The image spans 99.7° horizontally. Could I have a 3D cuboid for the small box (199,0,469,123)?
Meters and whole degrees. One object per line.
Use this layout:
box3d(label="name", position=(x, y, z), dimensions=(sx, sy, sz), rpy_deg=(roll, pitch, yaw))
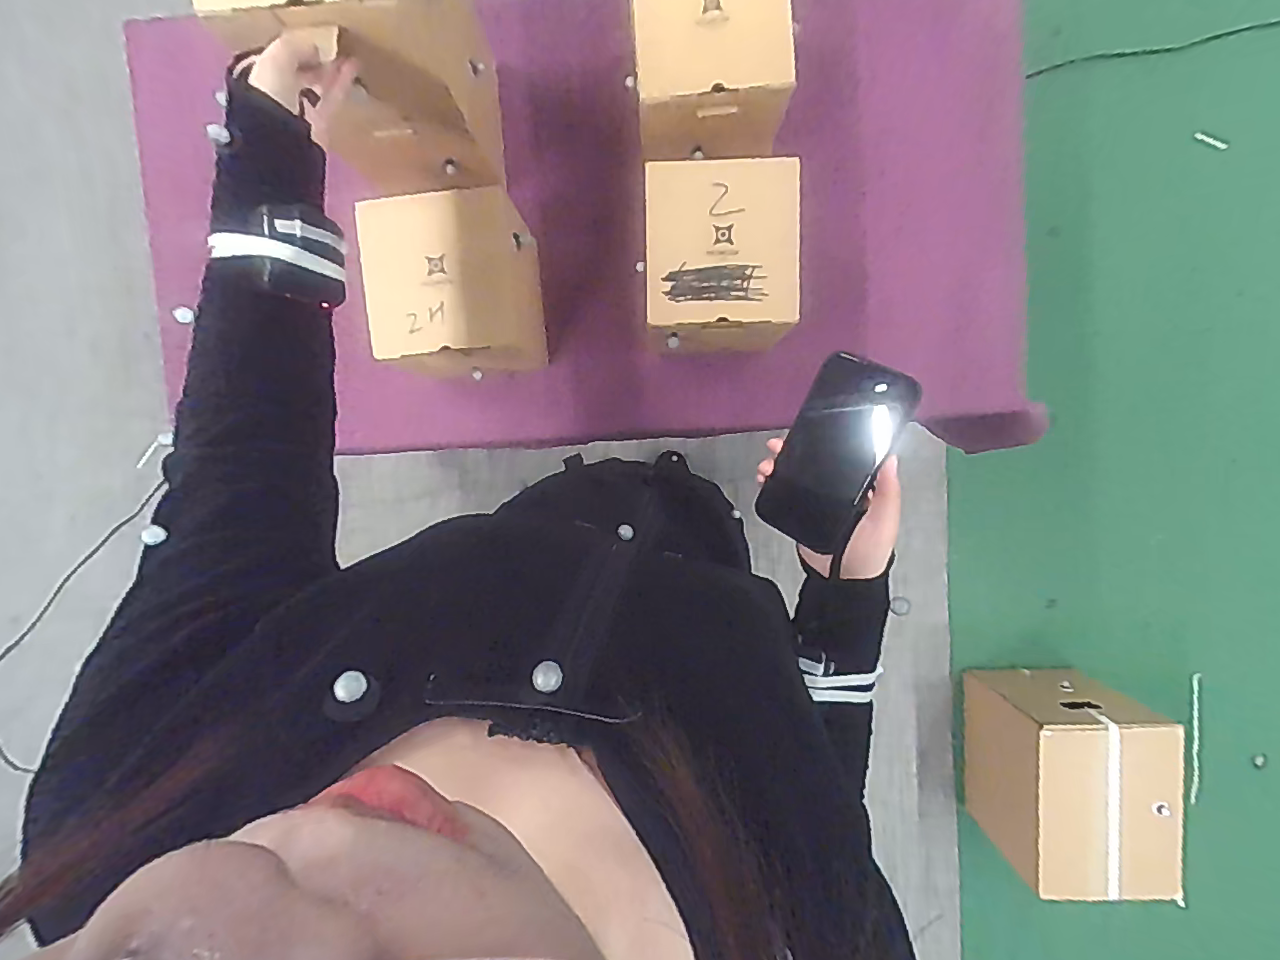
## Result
box3d(label="small box", position=(-0.266, -0.457, 0.496), dimensions=(0.168, 0.176, 0.179), rpy_deg=(-3, 95, 1))

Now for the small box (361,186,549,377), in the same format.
box3d(label="small box", position=(-0.217, -0.233, 0.674), dimensions=(0.168, 0.176, 0.179), rpy_deg=(-5, 93, 3))

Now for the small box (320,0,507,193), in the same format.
box3d(label="small box", position=(-0.267, -0.471, 0.660), dimensions=(0.168, 0.176, 0.179), rpy_deg=(-3, 94, 1))

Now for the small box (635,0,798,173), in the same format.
box3d(label="small box", position=(0.081, -0.501, 0.644), dimensions=(0.168, 0.176, 0.179), rpy_deg=(-5, 95, 3))
